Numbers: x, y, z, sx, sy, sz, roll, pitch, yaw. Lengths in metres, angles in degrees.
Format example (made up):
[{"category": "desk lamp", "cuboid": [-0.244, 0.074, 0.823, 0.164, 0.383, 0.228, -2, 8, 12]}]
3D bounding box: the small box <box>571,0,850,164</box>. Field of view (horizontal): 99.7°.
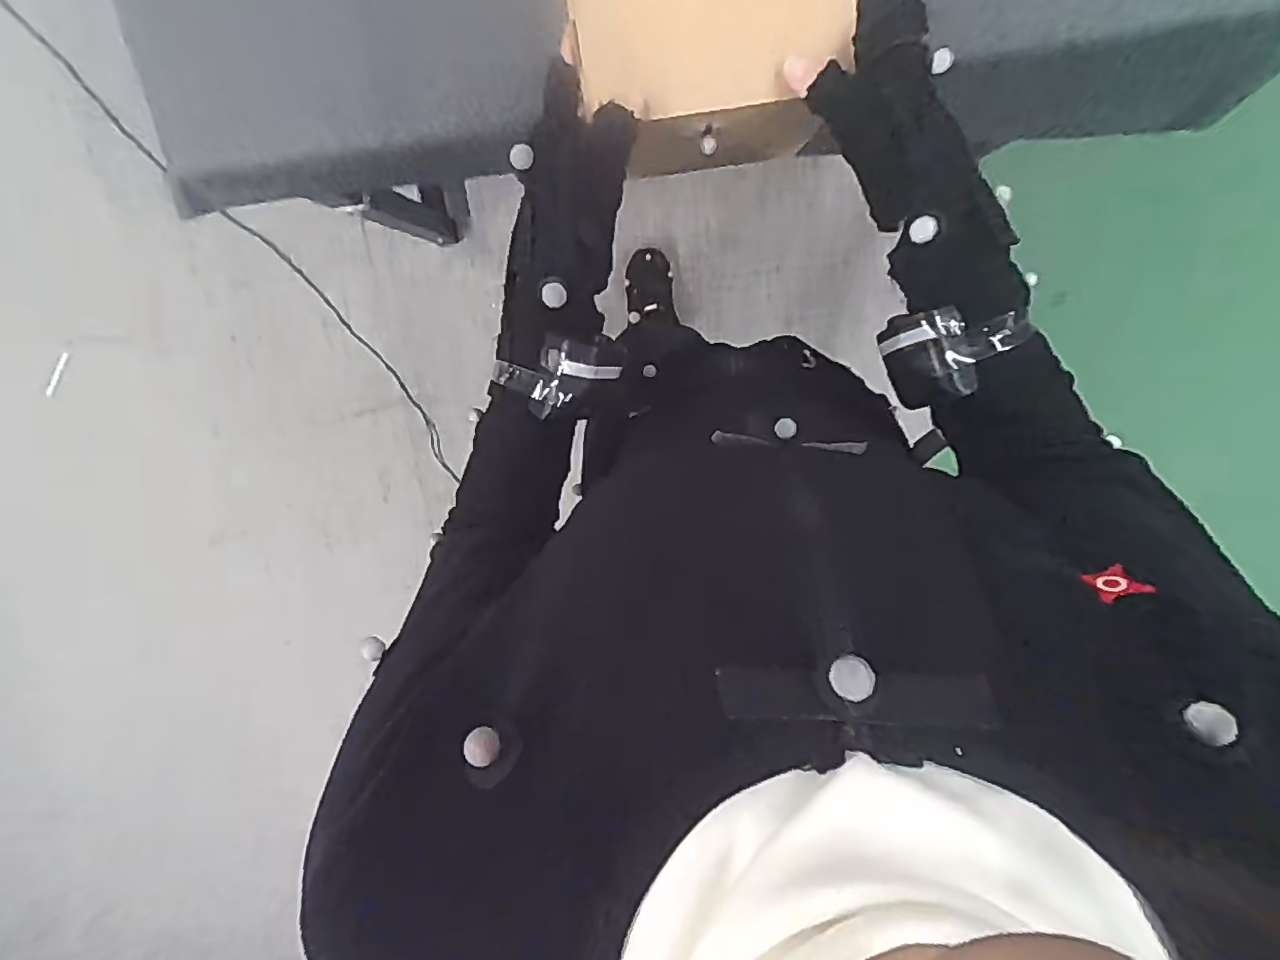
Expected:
[{"category": "small box", "cuboid": [0.040, -0.357, 0.406, 0.179, 0.176, 0.168, -8, 108, 2]}]
